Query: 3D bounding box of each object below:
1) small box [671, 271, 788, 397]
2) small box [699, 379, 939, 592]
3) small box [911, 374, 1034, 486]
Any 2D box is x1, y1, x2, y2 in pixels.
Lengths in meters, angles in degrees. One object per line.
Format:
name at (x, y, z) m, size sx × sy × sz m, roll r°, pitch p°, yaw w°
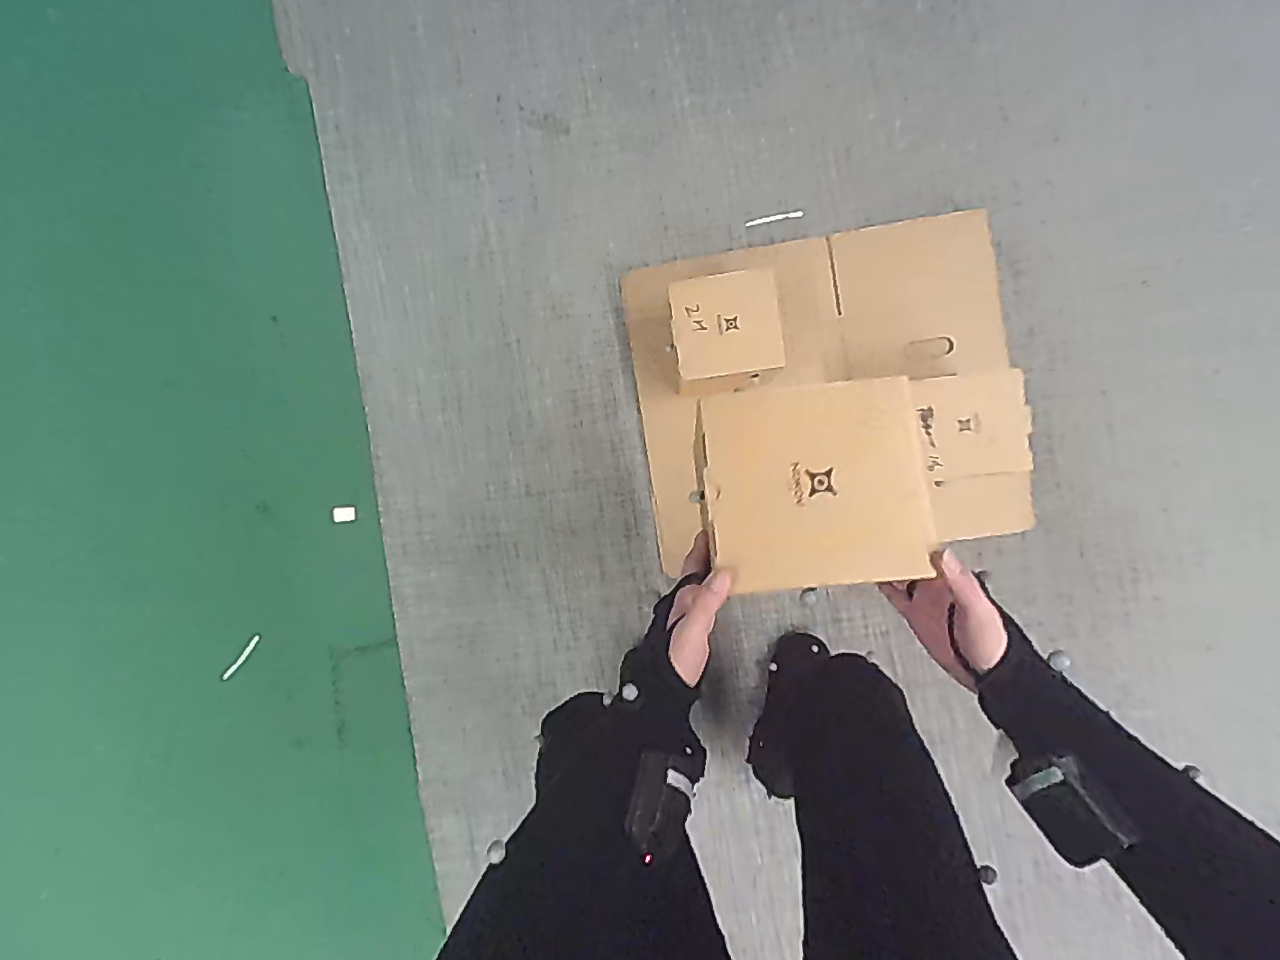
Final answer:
small box at (0.149, -0.247, 0.950) m, size 0.179 × 0.176 × 0.168 m, roll -7°, pitch 89°, yaw 4°
small box at (0.151, 0.015, 0.520) m, size 0.179 × 0.176 × 0.168 m, roll -6°, pitch 81°, yaw 5°
small box at (0.527, -0.080, 0.927) m, size 0.179 × 0.176 × 0.168 m, roll -5°, pitch 90°, yaw 4°
